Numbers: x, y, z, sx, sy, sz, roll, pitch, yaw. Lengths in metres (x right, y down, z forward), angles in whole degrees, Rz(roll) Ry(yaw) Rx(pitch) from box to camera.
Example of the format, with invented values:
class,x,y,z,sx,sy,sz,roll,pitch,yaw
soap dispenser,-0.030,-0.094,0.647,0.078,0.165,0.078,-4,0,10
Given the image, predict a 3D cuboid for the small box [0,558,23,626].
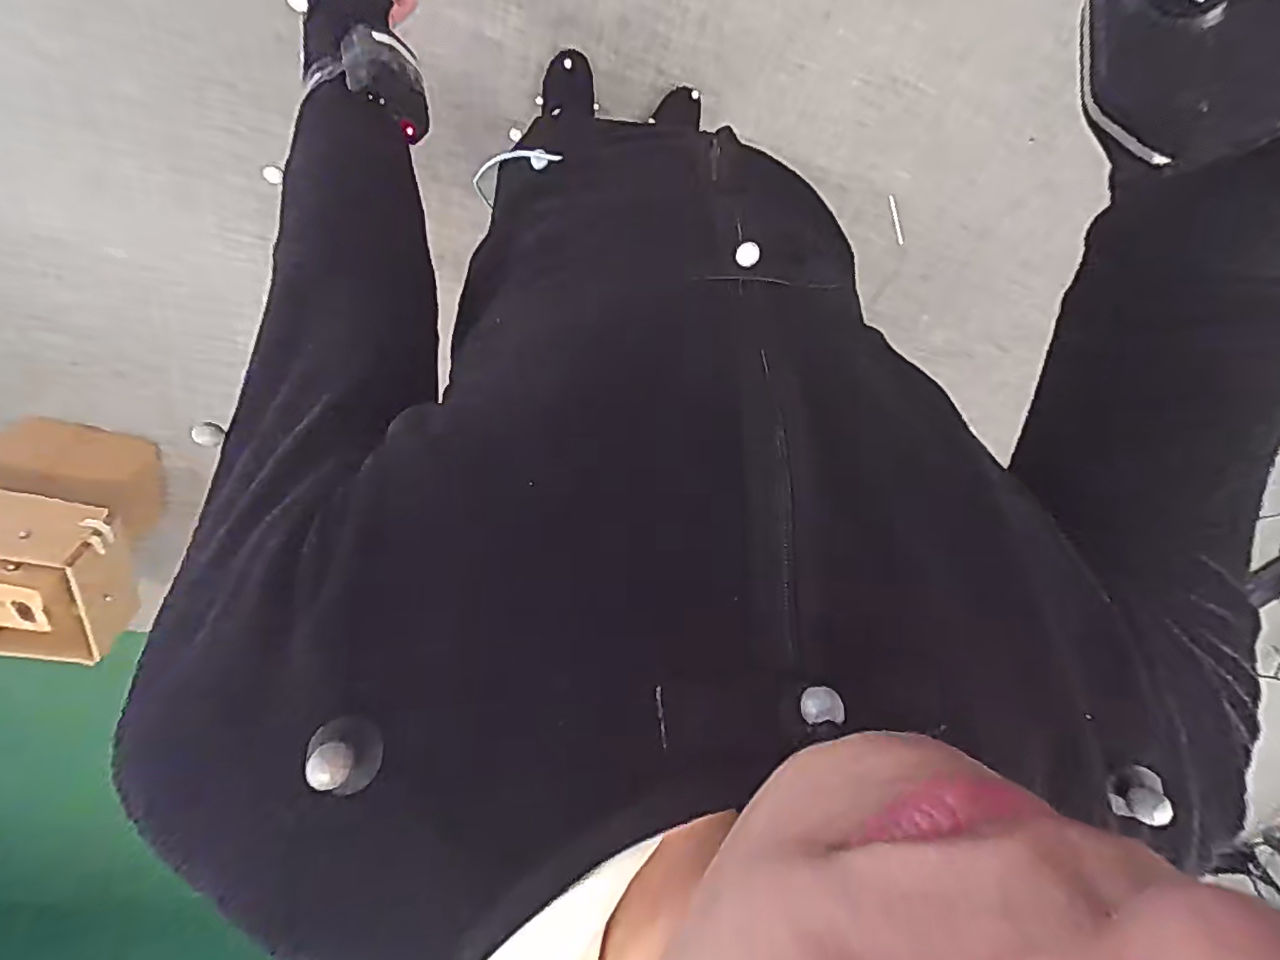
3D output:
class,x,y,z,sx,sy,sz,roll,pitch,yaw
small box,-1.674,0.287,1.314,0.179,0.176,0.168,14,124,-18
